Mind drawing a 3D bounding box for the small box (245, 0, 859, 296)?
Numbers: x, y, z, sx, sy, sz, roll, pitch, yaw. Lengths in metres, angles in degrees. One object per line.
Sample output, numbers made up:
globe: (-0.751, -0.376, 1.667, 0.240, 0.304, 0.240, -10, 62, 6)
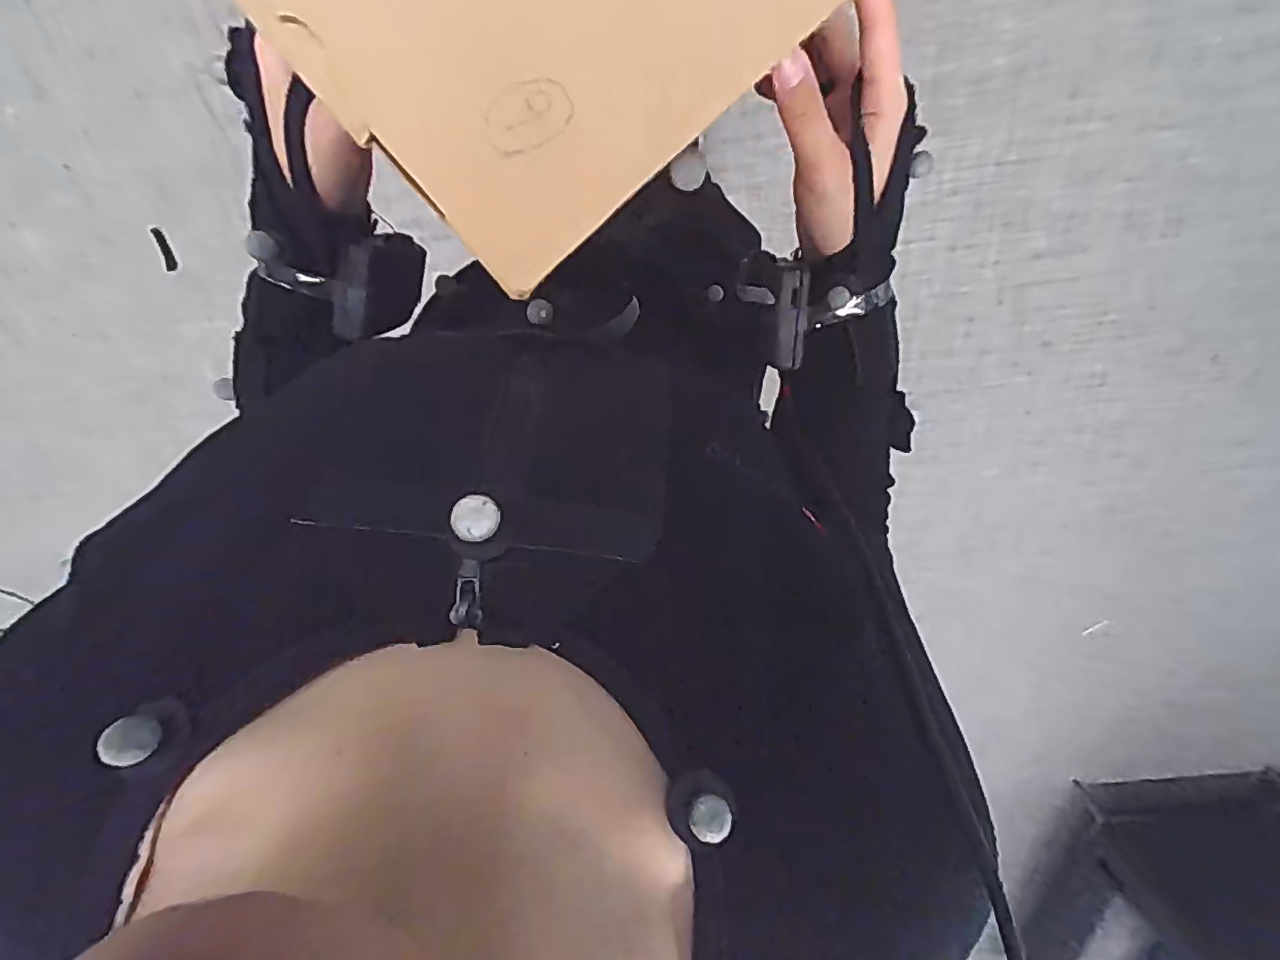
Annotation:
small box: (-0.023, -0.198, 0.194, 0.179, 0.176, 0.168, -35, 113, 18)
